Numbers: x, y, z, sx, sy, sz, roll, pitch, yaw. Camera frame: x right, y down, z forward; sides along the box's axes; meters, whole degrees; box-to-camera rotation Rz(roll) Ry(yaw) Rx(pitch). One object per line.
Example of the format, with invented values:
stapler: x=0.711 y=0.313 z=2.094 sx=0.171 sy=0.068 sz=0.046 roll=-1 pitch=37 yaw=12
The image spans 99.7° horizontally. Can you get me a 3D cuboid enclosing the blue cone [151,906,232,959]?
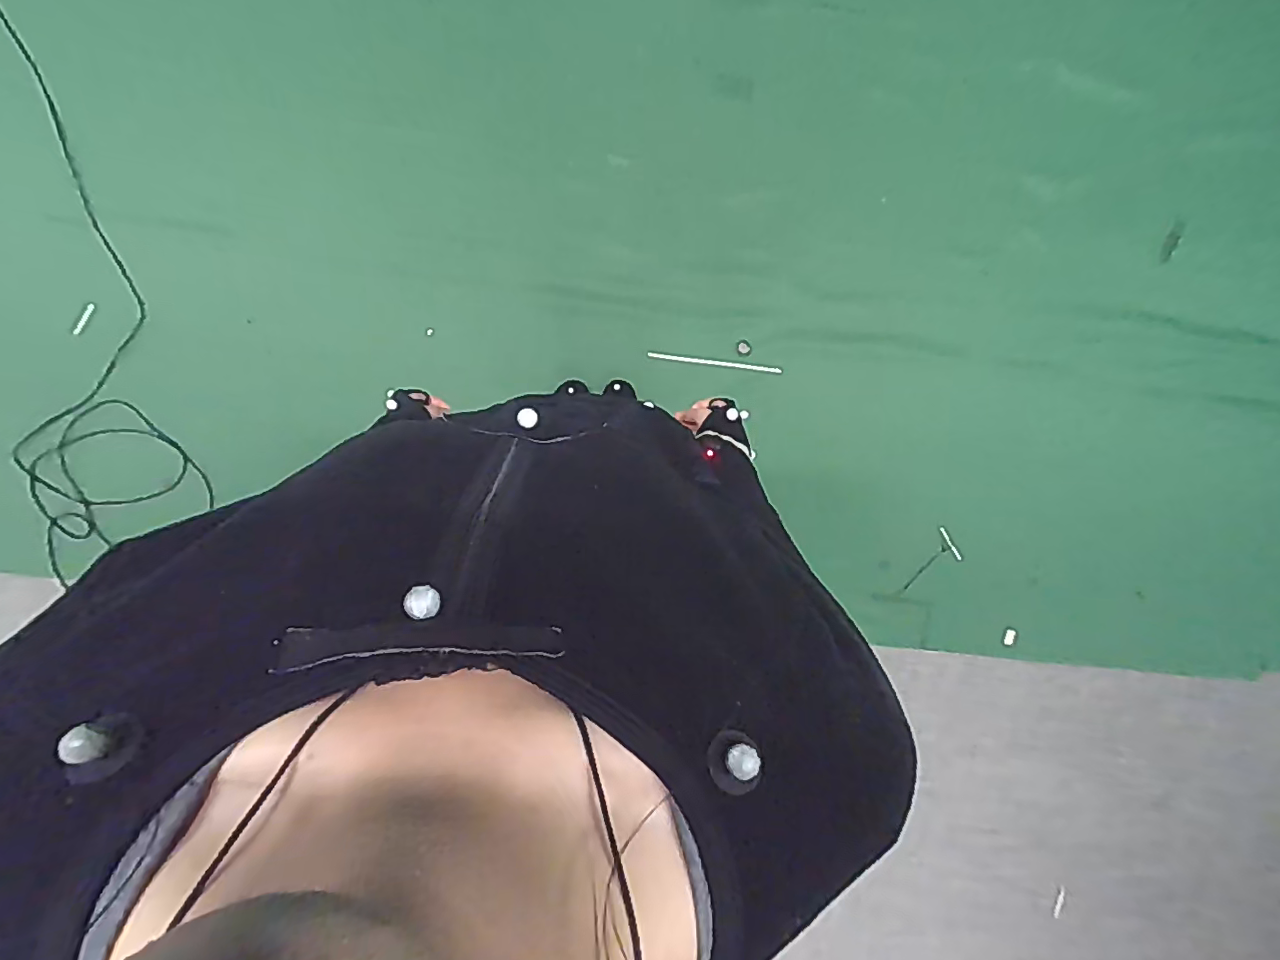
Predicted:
blue cone: x=-1.343 y=1.423 z=1.474 sx=0.193 sy=0.380 sz=0.192 roll=-37 pitch=102 yaw=4
